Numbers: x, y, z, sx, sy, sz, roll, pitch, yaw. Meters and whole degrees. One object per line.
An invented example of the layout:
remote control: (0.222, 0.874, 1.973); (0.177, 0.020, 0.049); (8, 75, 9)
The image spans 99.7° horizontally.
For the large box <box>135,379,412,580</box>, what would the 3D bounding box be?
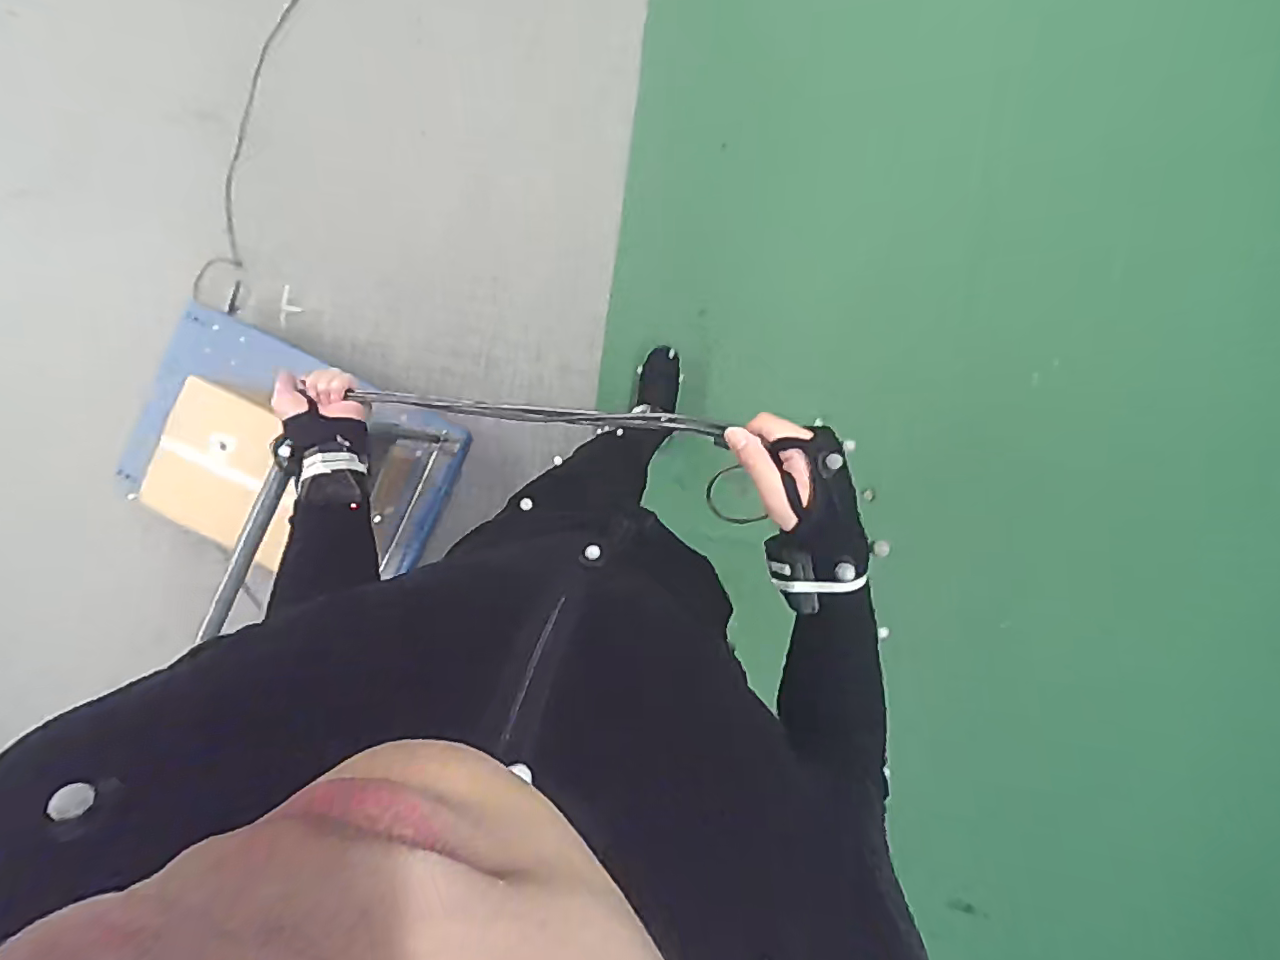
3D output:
large box: (-0.854, -0.003, 1.314); (0.408, 0.320, 0.320); (26, 91, 3)
